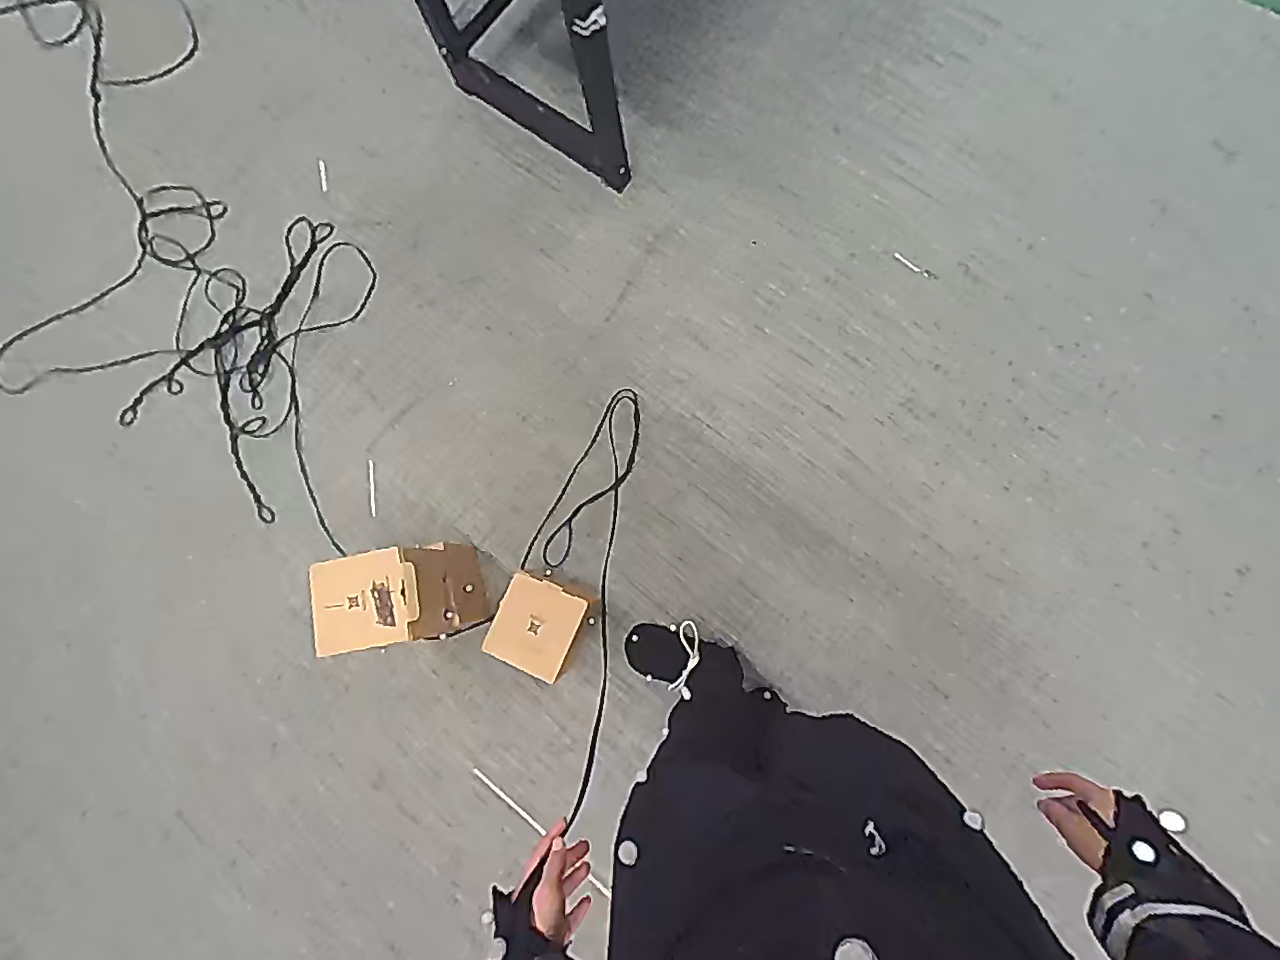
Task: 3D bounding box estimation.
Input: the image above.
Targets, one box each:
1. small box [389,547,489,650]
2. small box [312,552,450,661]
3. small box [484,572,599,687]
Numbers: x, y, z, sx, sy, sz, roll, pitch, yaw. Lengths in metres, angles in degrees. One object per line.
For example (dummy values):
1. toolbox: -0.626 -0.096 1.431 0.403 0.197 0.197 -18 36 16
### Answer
1. small box: -0.448 0.252 1.179 0.168 0.176 0.179 -17 79 3
2. small box: -0.475 0.231 1.017 0.179 0.176 0.168 -12 79 5
3. small box: -0.197 0.307 1.146 0.168 0.176 0.179 22 84 10
